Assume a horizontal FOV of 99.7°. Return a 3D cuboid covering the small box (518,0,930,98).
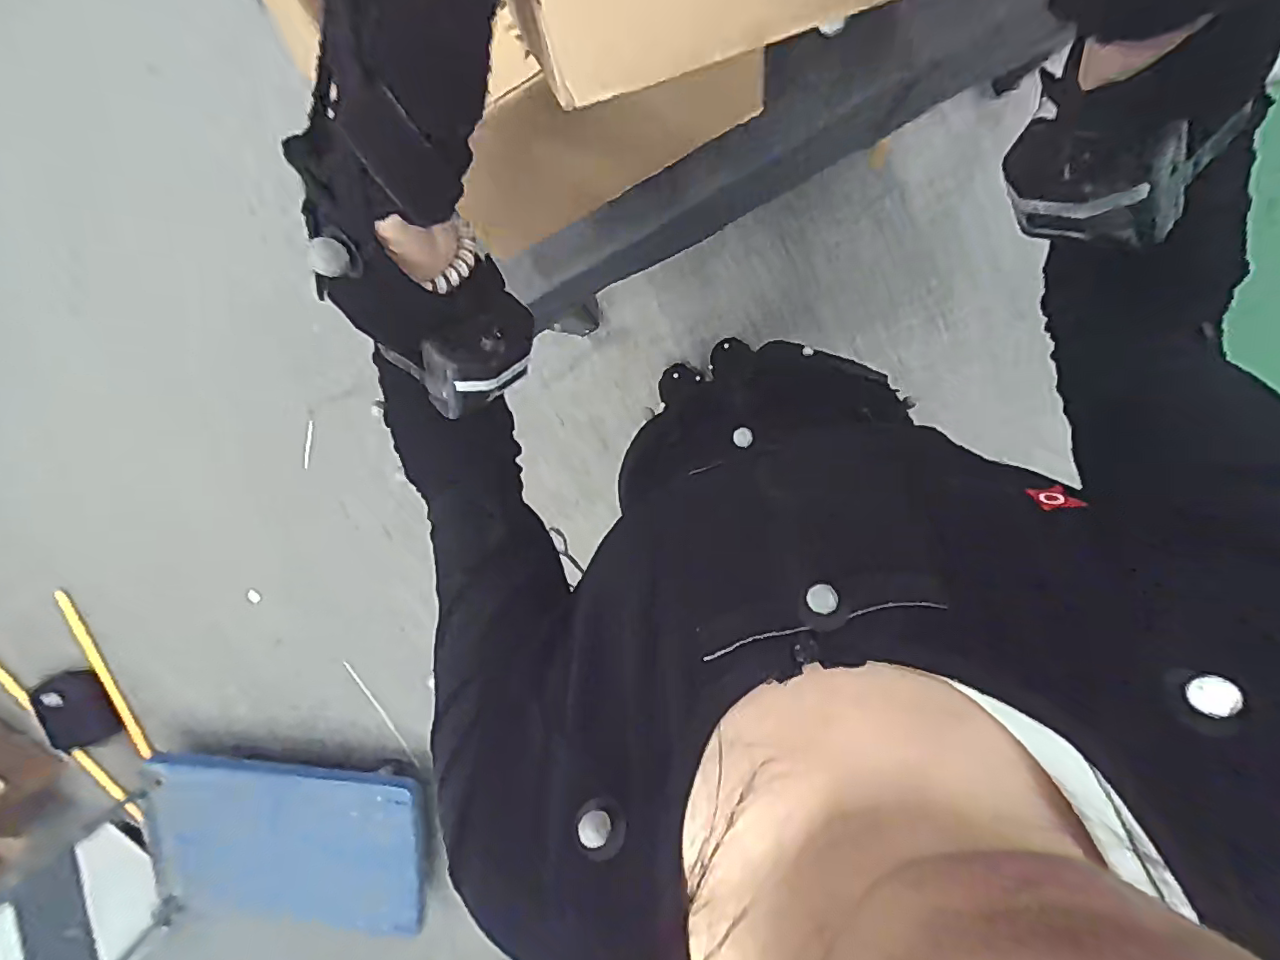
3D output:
[{"bbox_3d":[0.023,-0.280,0.197,0.179,0.176,0.168,-18,141,-2],"label":"small box"}]
